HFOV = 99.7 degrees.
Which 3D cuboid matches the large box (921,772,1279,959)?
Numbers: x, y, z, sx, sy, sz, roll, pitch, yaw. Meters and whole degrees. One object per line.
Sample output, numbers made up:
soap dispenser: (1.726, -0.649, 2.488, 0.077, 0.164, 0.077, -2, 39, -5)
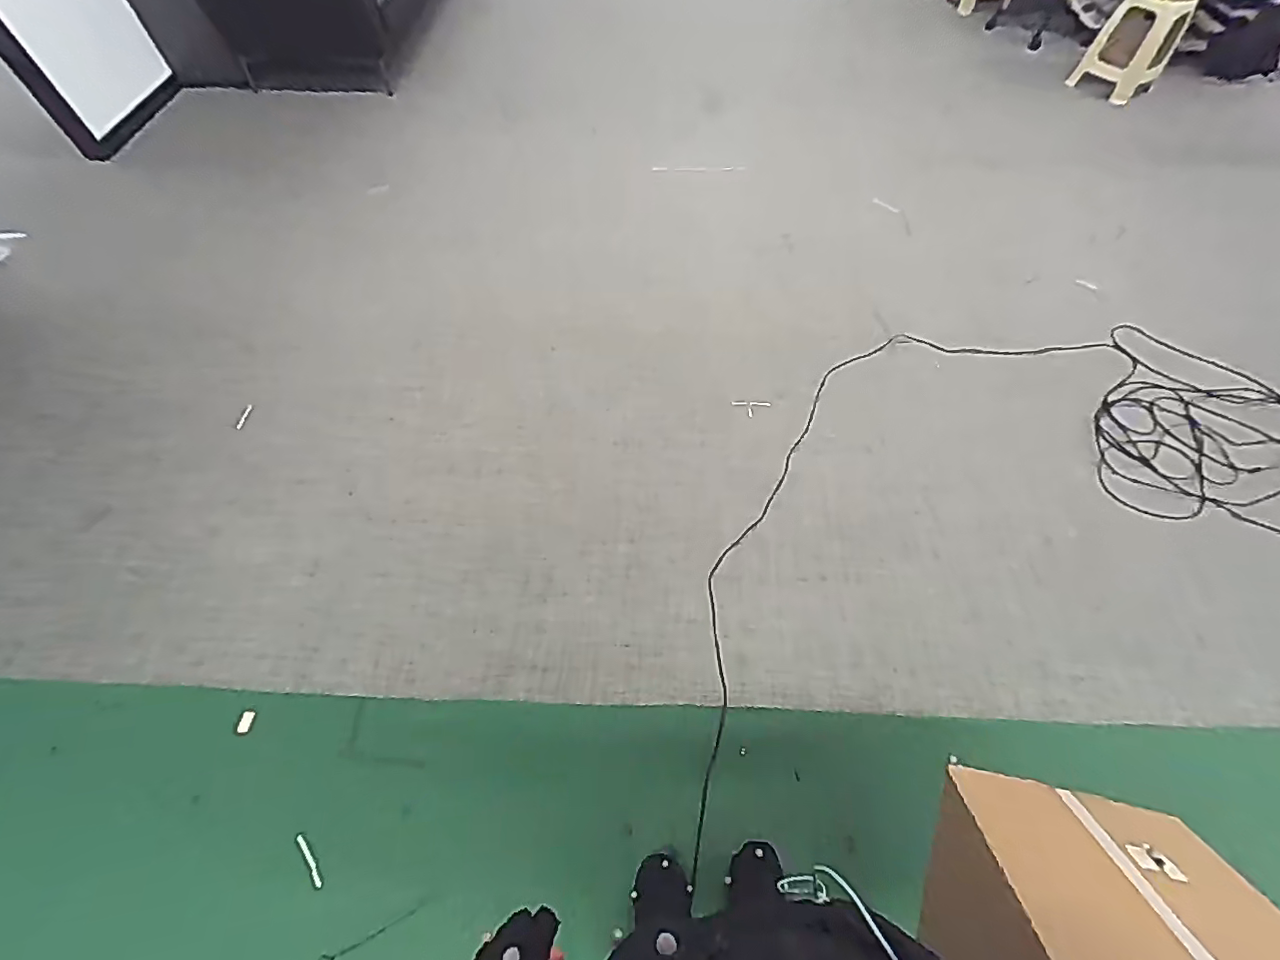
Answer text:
large box: (0.566, 0.634, 0.636, 0.320, 0.408, 0.320, 9, 94, 13)
